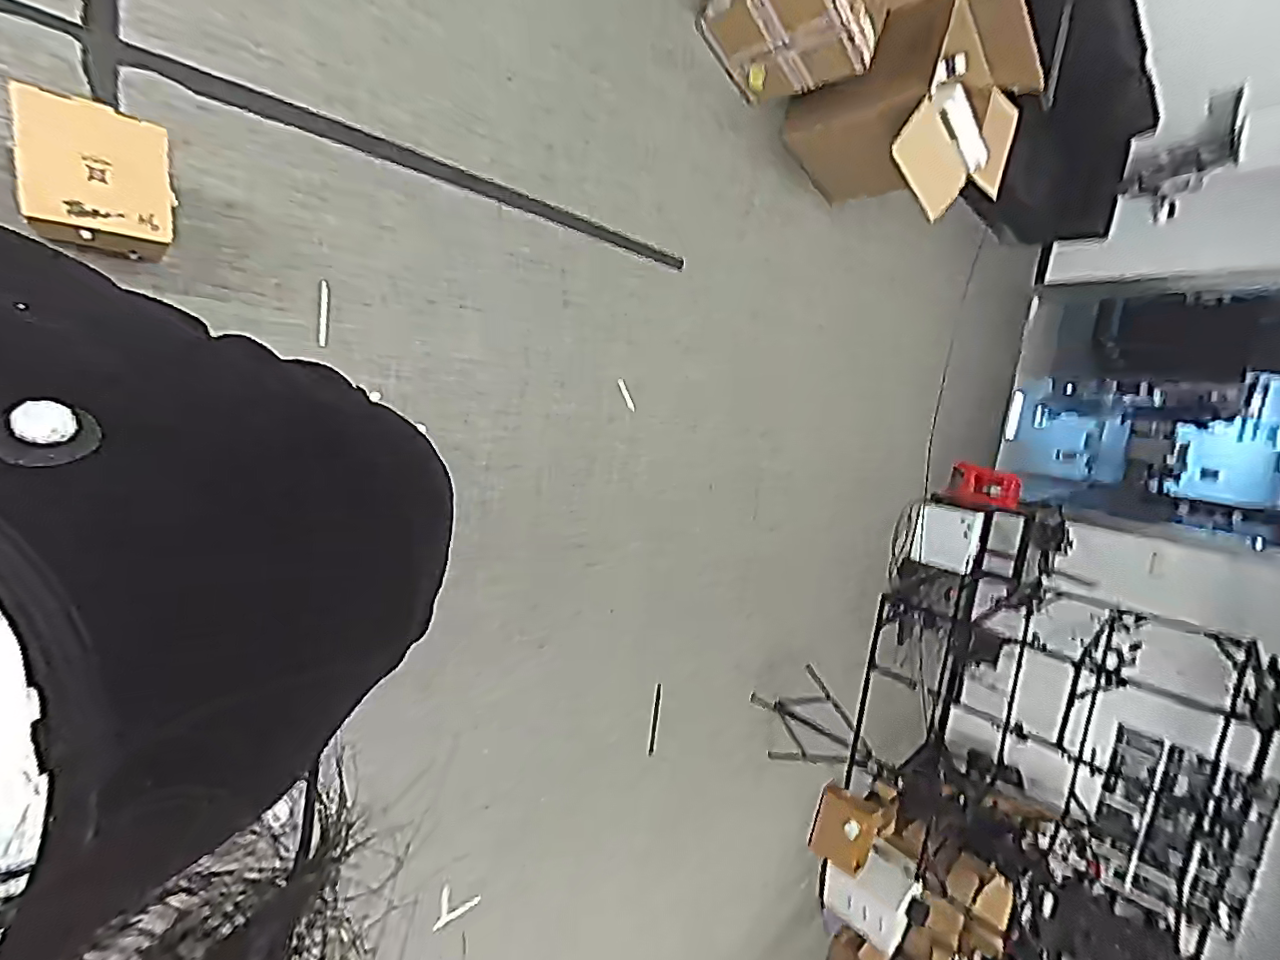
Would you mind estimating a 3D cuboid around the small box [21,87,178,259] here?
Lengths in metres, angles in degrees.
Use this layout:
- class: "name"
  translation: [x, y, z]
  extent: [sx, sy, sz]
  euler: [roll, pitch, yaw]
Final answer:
- class: "small box"
  translation: [-0.856, -0.471, 0.865]
  extent: [0.168, 0.176, 0.179]
  euler: [-3, 102, -43]
